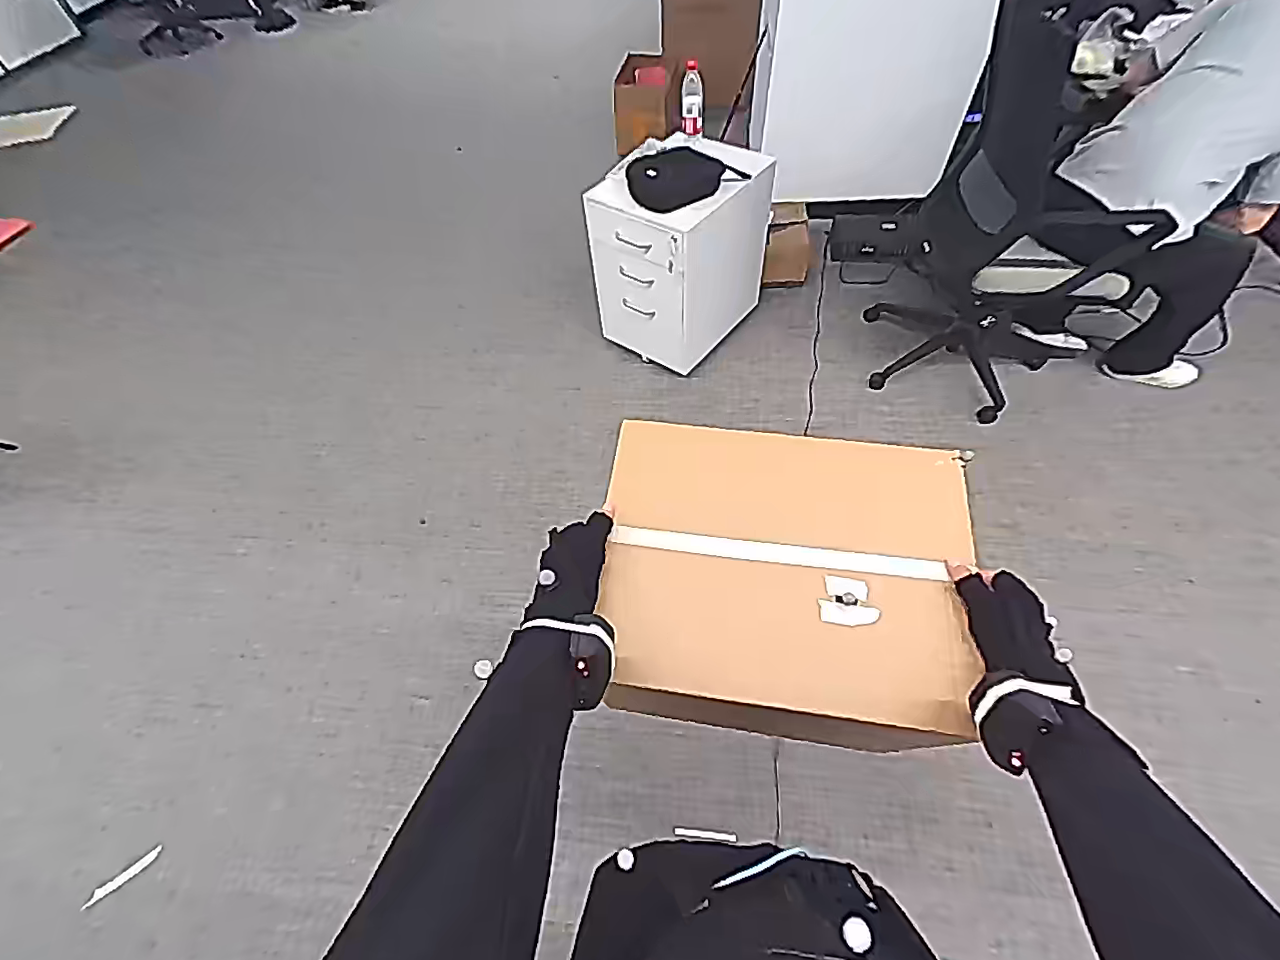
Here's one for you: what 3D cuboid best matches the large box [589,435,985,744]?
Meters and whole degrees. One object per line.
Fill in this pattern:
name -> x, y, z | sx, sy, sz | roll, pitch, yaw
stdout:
large box -> 0.165, 0.162, 0.742 | 0.408, 0.320, 0.320 | 6, 63, 6
